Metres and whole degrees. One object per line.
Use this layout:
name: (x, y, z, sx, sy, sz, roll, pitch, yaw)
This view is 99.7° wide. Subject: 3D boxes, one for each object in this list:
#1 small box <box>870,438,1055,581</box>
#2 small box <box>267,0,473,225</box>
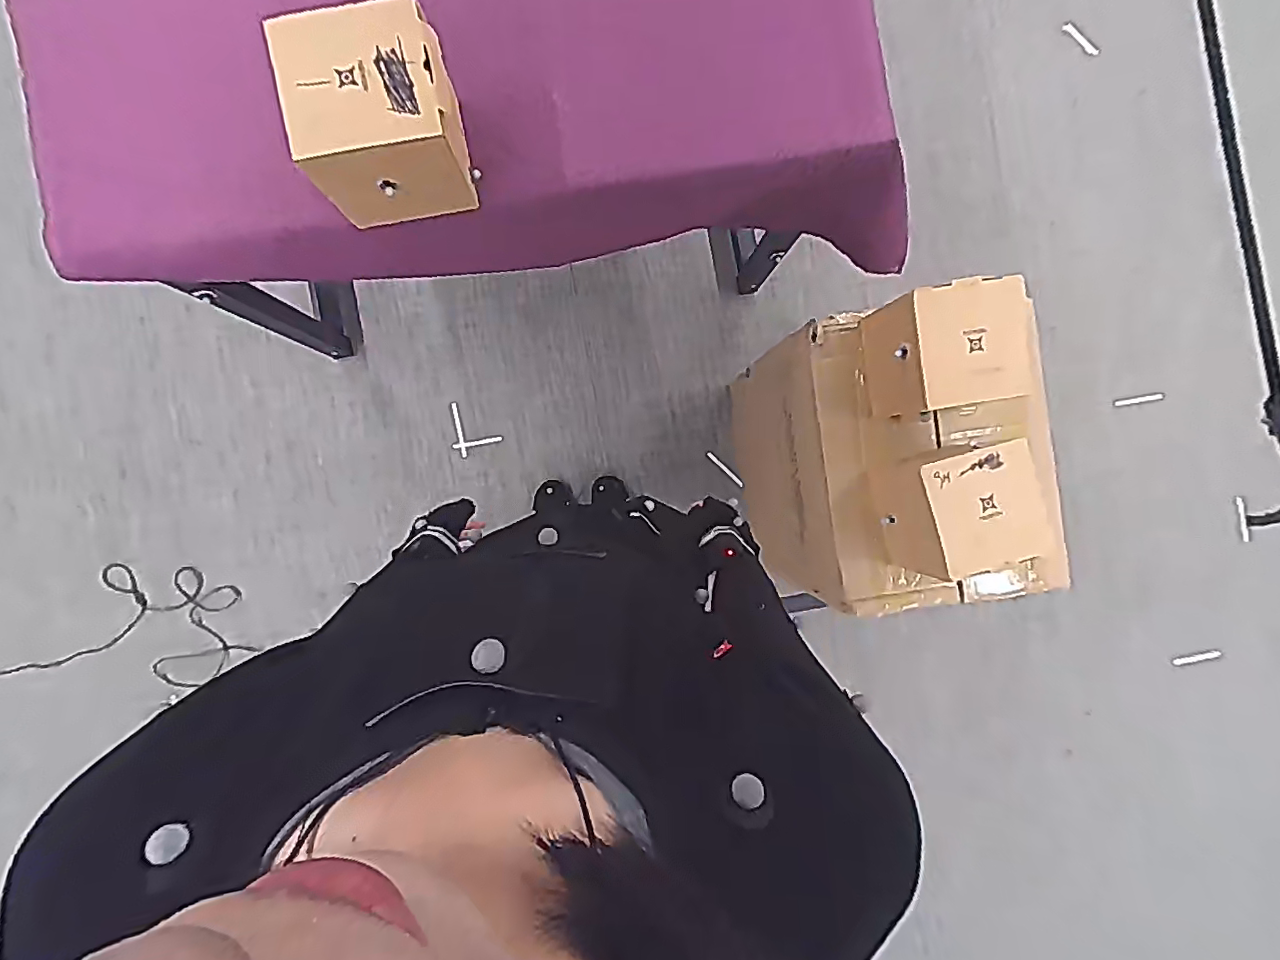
small box: (0.493, 0.041, 0.850, 0.168, 0.176, 0.179, -15, 90, -2)
small box: (-0.326, -0.456, 0.695, 0.179, 0.176, 0.168, -12, 90, -3)
